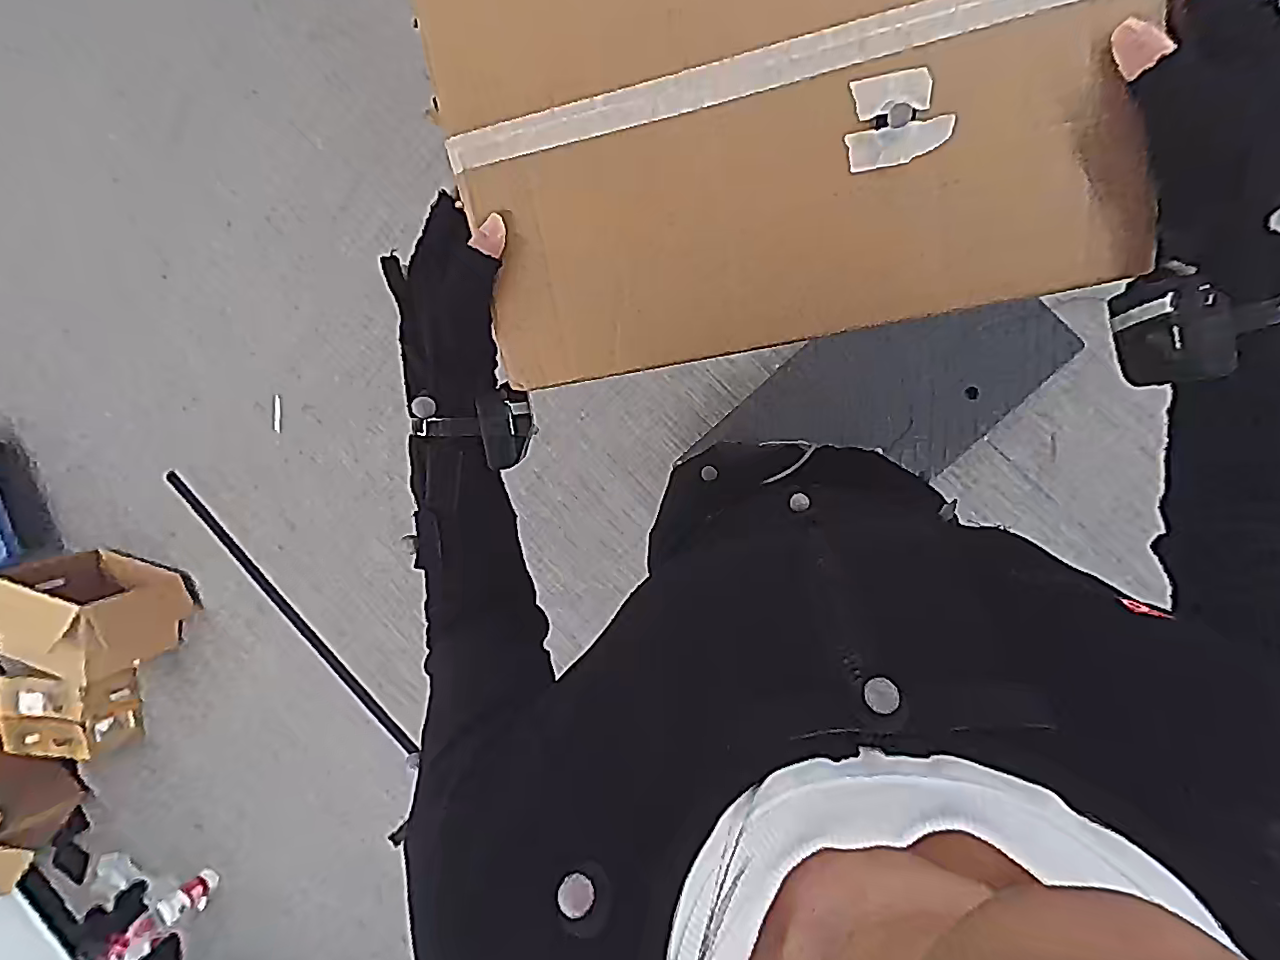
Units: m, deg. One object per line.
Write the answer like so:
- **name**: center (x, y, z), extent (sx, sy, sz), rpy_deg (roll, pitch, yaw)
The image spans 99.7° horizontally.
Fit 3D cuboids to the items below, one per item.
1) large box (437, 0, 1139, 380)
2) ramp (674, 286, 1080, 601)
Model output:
- **large box**: center (0.098, -0.287, 0.474), extent (0.408, 0.320, 0.320), rpy_deg (-9, 104, 10)
- **ramp**: center (0.612, -0.189, 1.437), extent (0.991, 0.206, 0.509), rpy_deg (-45, 83, 12)
